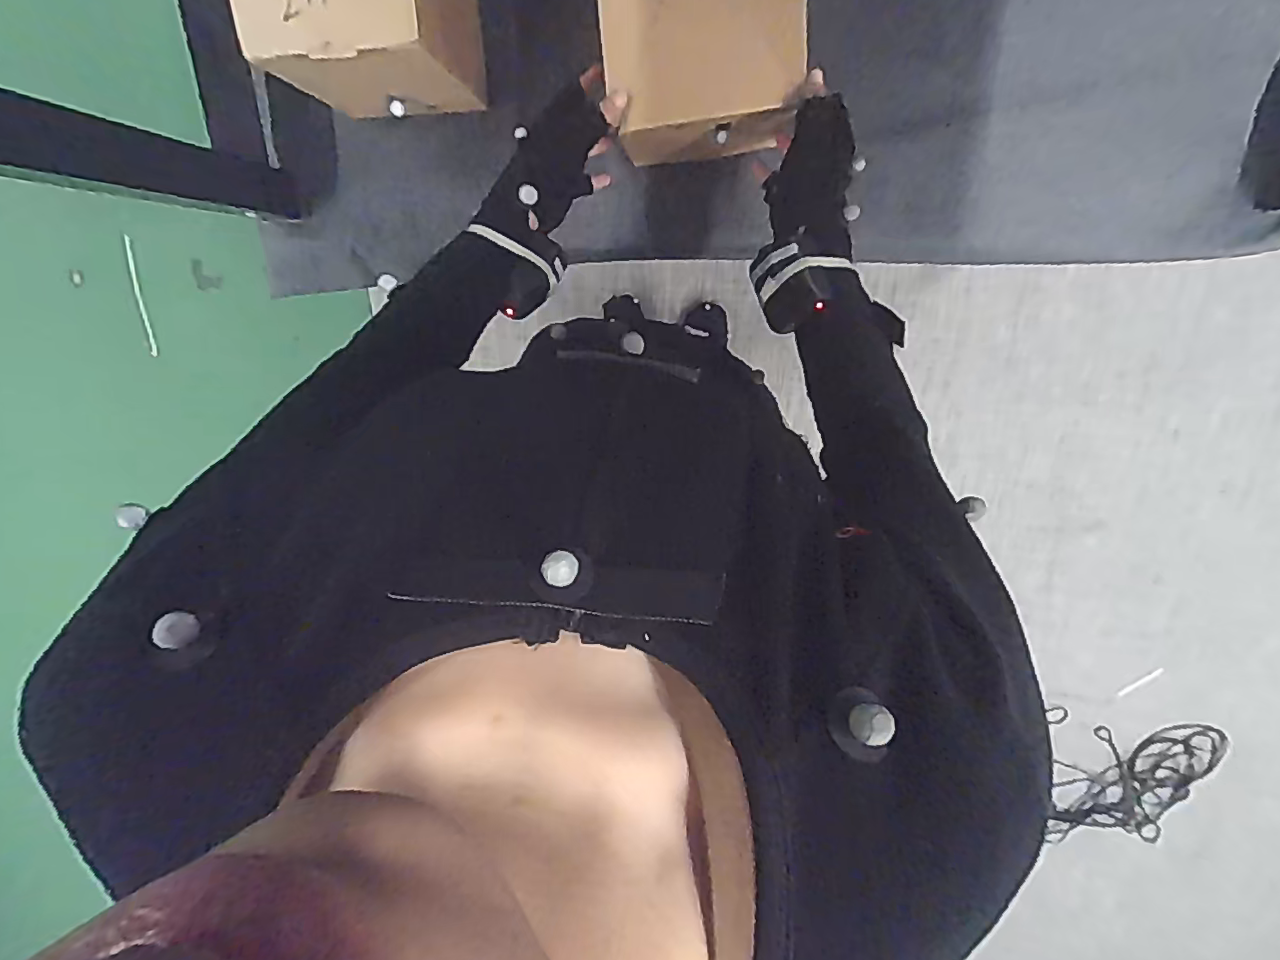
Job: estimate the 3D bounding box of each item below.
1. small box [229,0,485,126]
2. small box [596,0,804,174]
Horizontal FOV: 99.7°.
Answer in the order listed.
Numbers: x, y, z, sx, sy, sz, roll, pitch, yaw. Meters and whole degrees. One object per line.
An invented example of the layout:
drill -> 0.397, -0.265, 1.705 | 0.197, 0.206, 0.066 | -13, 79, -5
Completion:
small box -> -0.264, -0.471, 0.521 | 0.168, 0.176, 0.179 | 0, 108, 6
small box -> 0.055, -0.414, 0.508 | 0.168, 0.176, 0.179 | -4, 108, 8
